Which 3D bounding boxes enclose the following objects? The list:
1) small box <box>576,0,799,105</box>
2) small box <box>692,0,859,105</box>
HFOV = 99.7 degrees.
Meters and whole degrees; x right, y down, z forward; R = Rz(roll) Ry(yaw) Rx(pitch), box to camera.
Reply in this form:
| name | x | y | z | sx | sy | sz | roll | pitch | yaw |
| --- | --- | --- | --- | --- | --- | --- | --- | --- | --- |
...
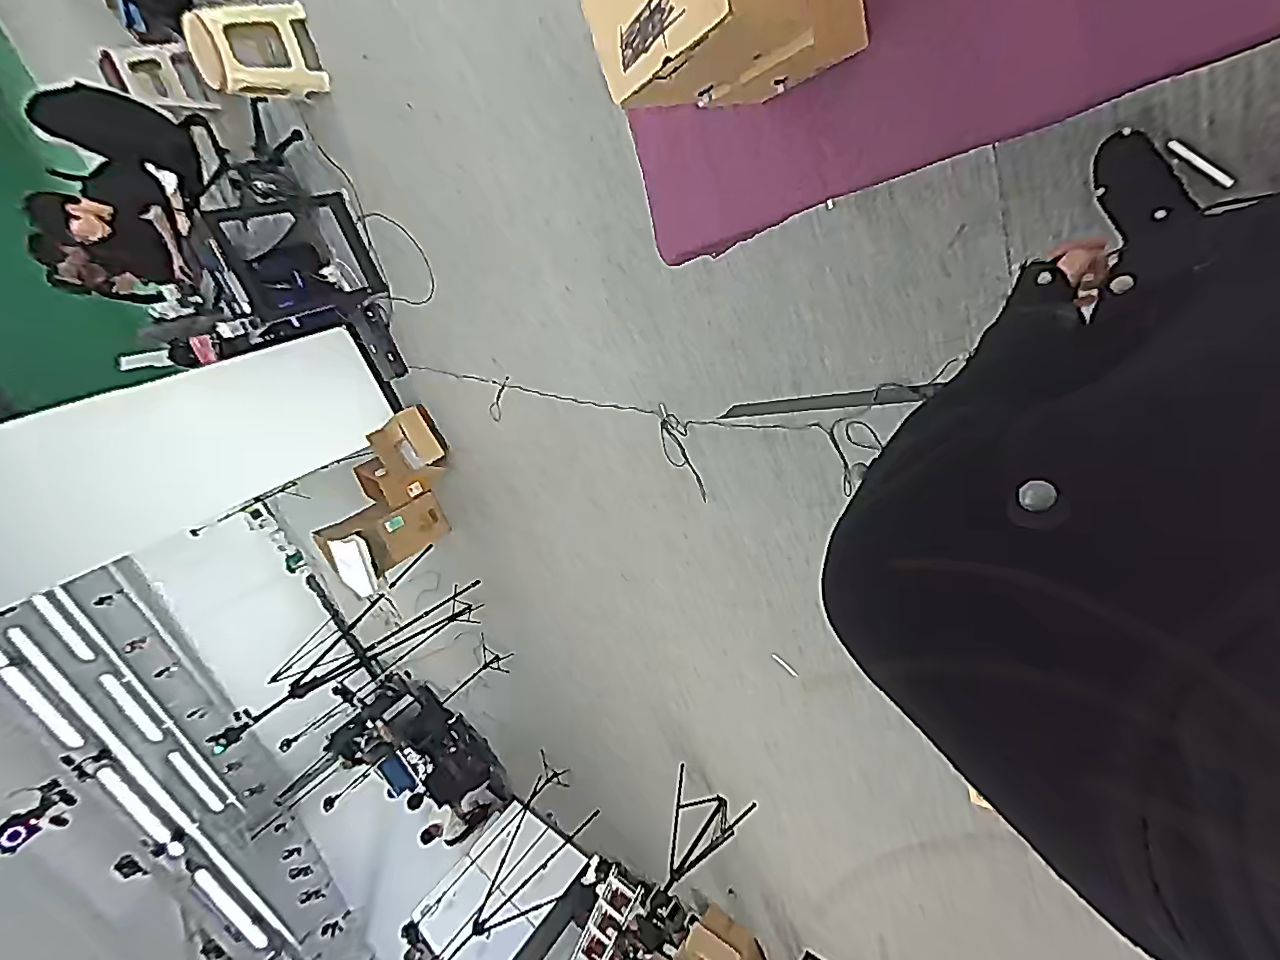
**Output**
| name | x | y | z | sx | sy | sz | roll | pitch | yaw |
| --- | --- | --- | --- | --- | --- | --- | --- | --- | --- |
| small box | 0.046 | -0.537 | 0.573 | 0.168 | 0.176 | 0.179 | -2 | 116 | 46 |
| small box | 0.156 | -0.605 | 0.676 | 0.168 | 0.176 | 0.179 | 3 | 121 | 44 |
